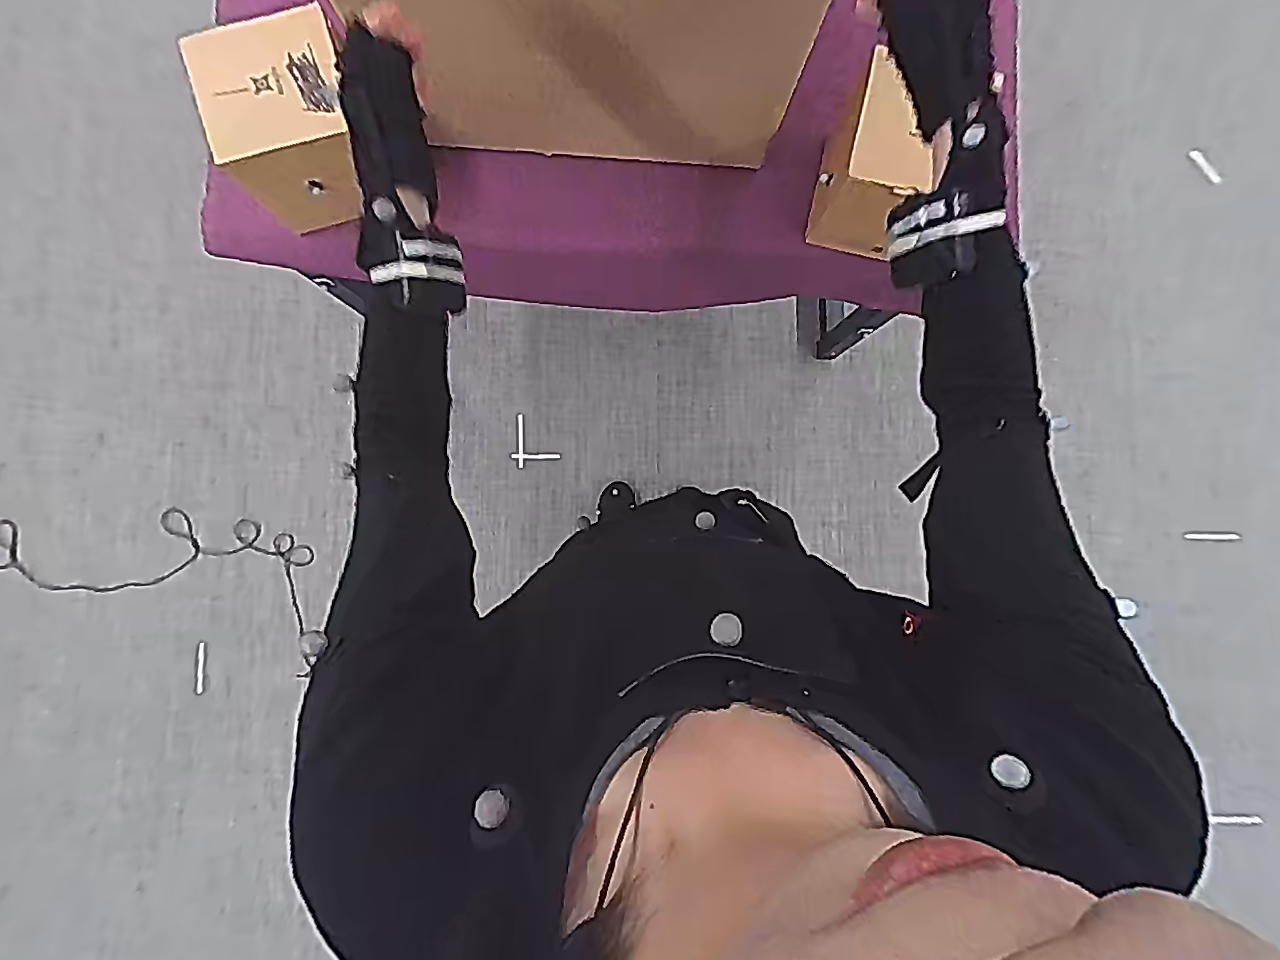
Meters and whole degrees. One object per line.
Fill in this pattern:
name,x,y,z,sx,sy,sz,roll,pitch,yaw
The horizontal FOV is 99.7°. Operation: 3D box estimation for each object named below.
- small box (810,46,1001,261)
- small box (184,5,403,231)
small box,0.348,-0.430,0.743,0.168,0.176,0.179,12,86,-1
small box,-0.440,-0.467,0.724,0.179,0.176,0.168,-18,88,-3
